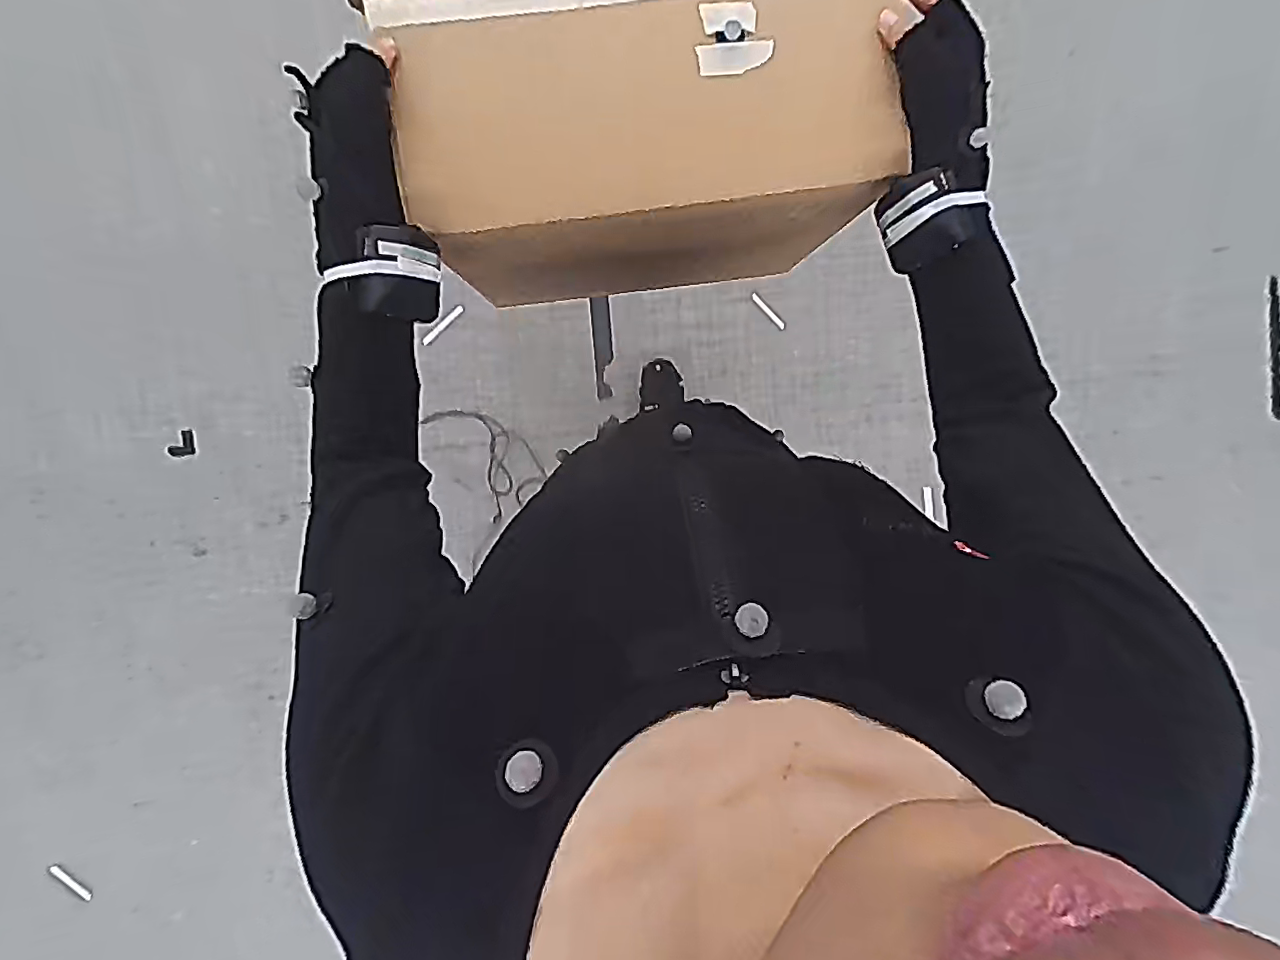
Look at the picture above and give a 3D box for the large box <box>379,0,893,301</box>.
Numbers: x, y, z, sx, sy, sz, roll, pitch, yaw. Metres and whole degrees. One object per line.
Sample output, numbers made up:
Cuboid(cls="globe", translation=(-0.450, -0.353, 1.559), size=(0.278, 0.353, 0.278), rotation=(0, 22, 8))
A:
Cuboid(cls="large box", translation=(-0.014, -0.401, 0.573), size=(0.408, 0.320, 0.320), rotation=(-9, 99, -2))
